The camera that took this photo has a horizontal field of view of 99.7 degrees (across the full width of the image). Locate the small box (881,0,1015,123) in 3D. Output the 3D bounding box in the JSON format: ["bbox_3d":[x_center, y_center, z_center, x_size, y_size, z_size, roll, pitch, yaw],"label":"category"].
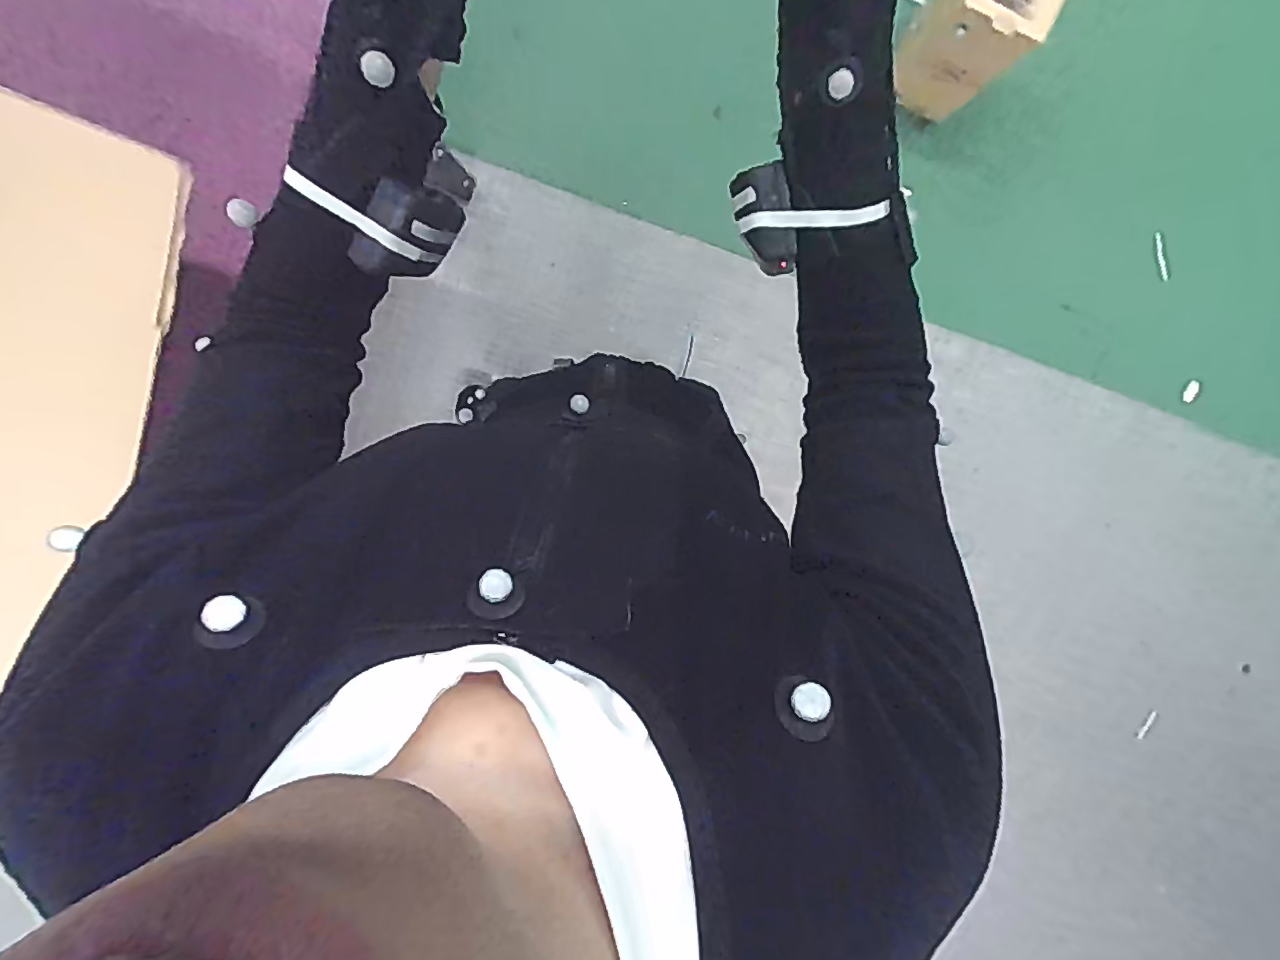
[{"bbox_3d":[0.669,-0.941,1.202,0.168,0.176,0.179,21,101,-6],"label":"small box"}]
